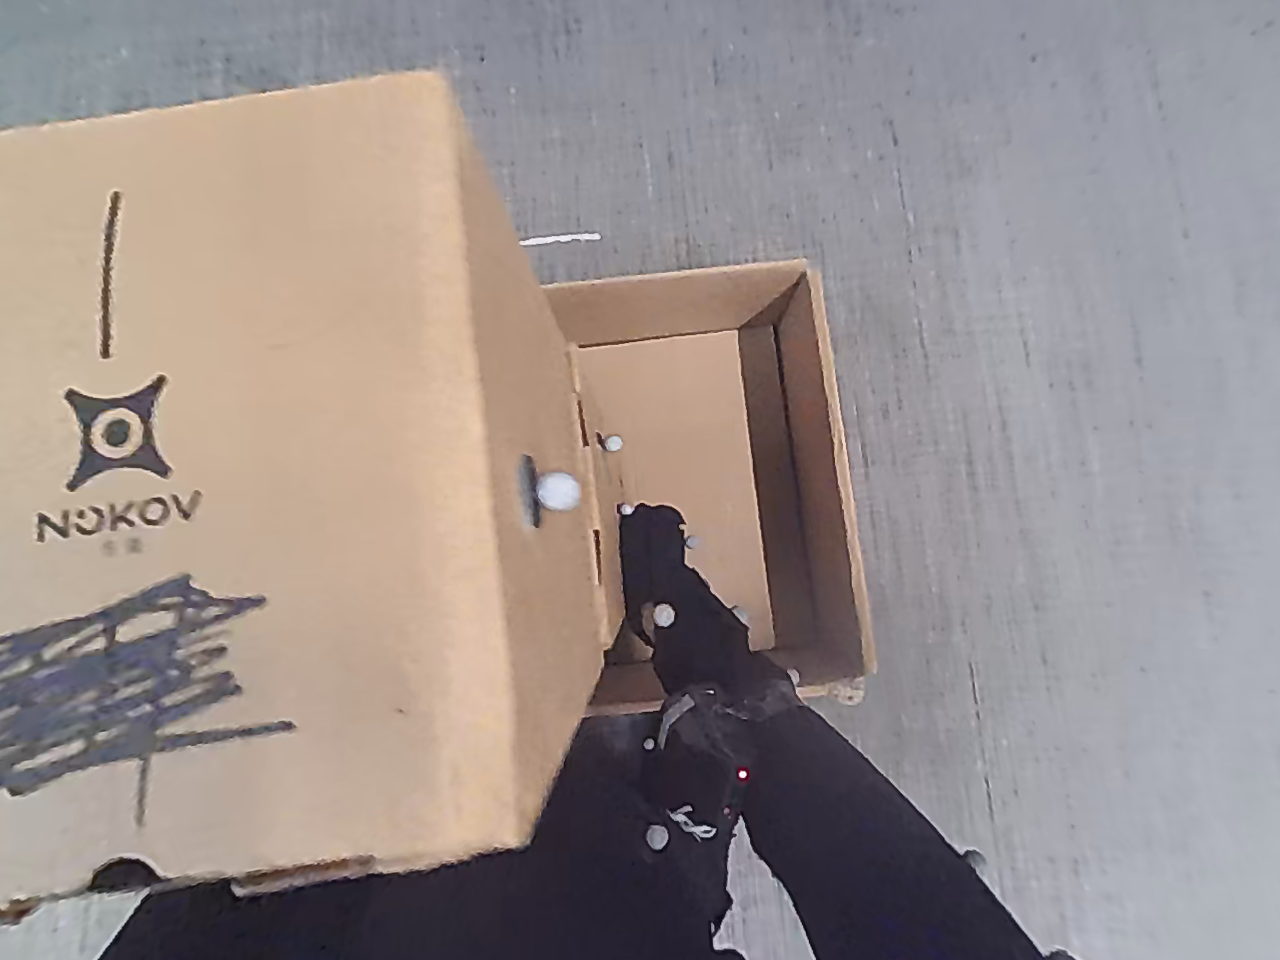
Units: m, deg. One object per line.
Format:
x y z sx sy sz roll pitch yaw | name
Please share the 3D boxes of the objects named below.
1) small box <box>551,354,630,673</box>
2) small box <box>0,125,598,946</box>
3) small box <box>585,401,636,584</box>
-0.106 0.037 0.349 0.179 0.176 0.168 -12 83 -1 | small box
-0.112 0.018 0.203 0.168 0.176 0.179 -8 82 0 | small box
-0.105 0.038 0.530 0.179 0.176 0.168 -11 81 0 | small box
